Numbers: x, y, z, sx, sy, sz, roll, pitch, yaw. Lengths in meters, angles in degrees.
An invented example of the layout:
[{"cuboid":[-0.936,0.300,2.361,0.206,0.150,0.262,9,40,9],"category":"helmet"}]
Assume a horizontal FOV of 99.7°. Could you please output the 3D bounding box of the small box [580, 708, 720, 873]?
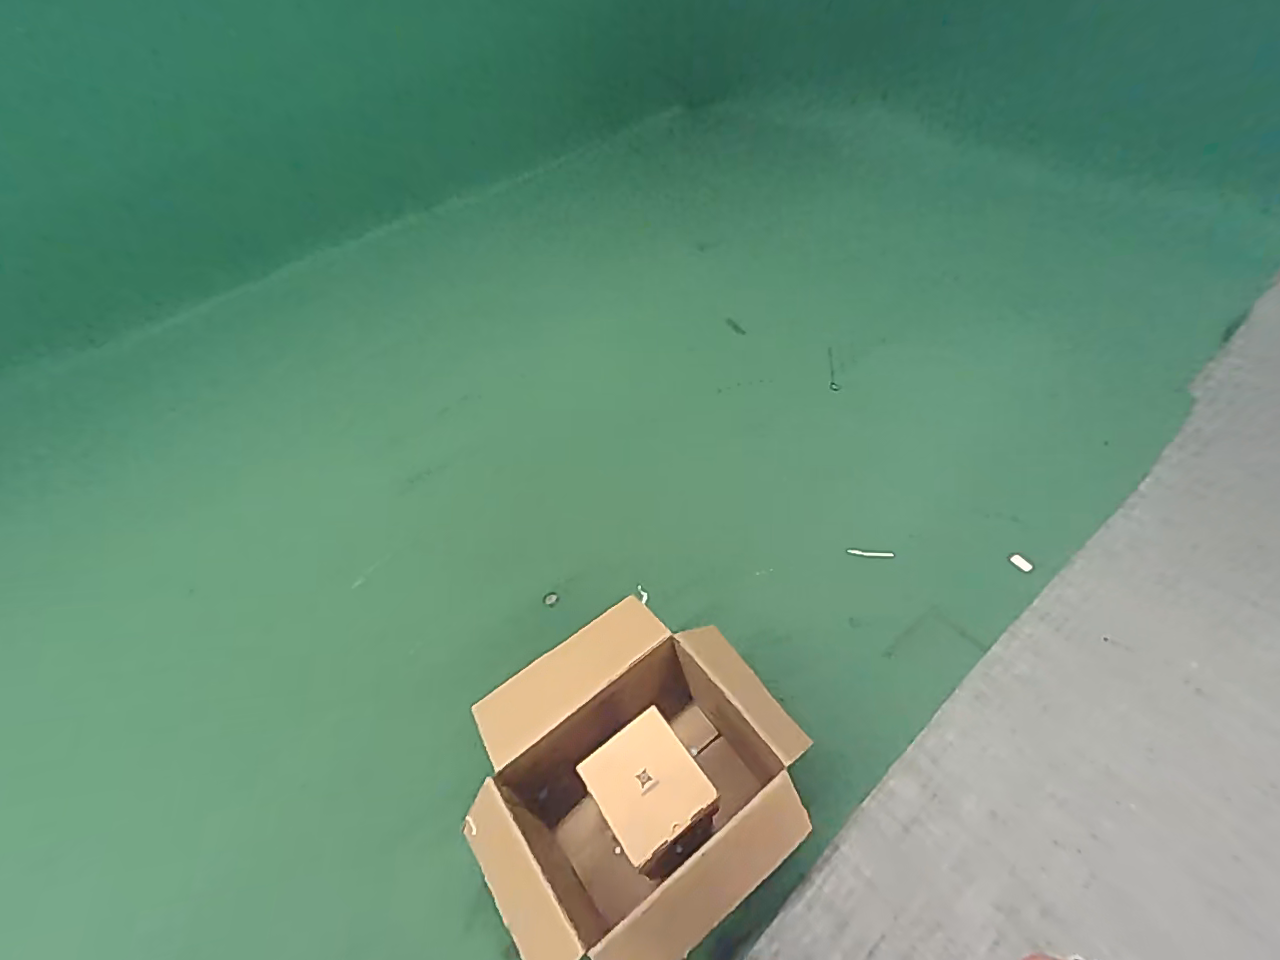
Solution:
[{"cuboid":[0.019,0.537,0.930,0.168,0.176,0.179,-32,55,-18],"category":"small box"}]
